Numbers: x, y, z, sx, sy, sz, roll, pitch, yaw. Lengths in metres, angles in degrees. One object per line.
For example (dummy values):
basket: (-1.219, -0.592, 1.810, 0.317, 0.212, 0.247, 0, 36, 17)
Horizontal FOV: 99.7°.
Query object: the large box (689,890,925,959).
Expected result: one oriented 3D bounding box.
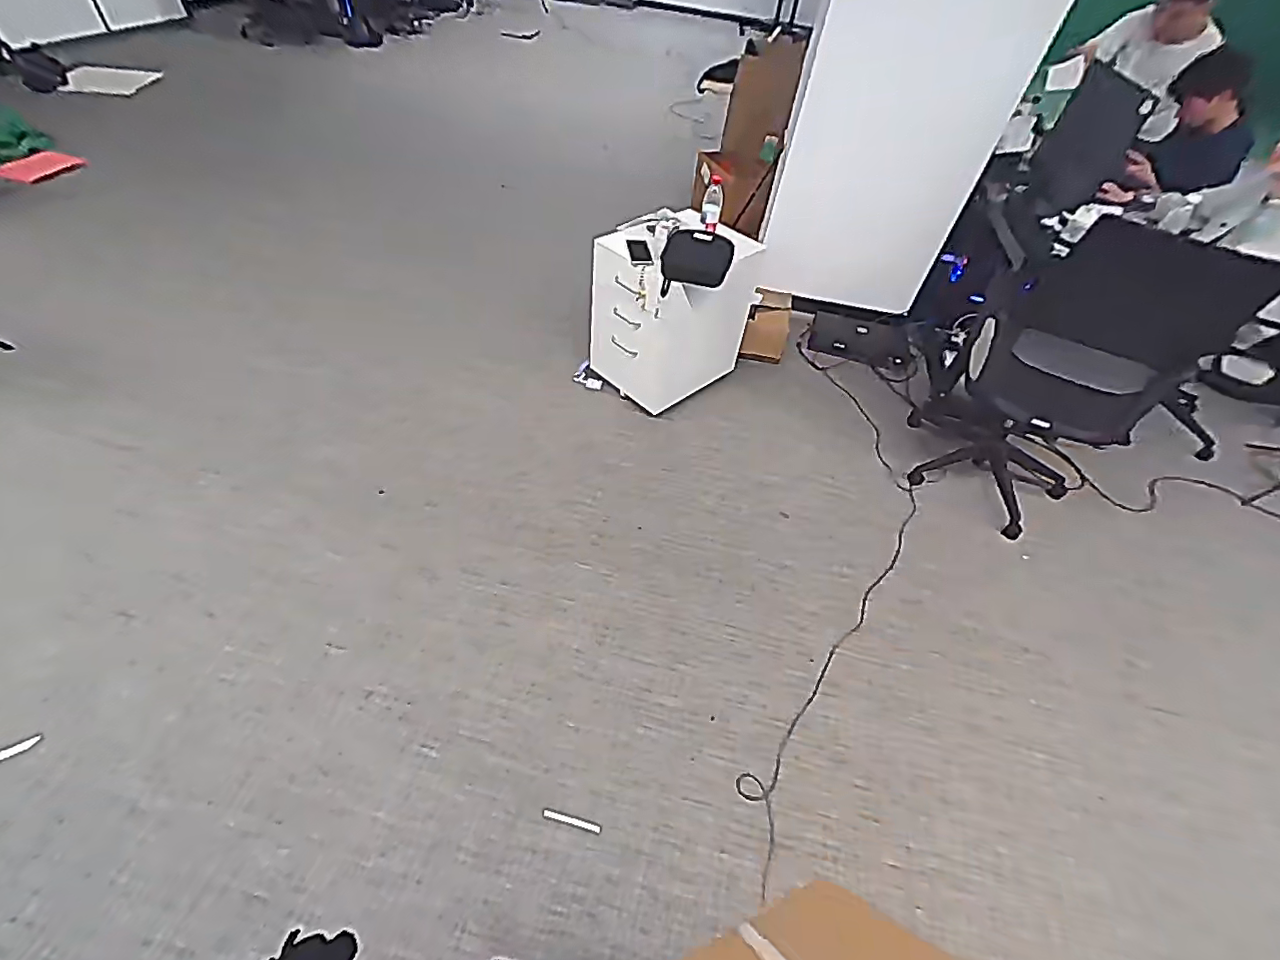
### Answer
large box: (0.245, 0.774, 0.617, 0.320, 0.408, 0.320, -16, 76, -20)
